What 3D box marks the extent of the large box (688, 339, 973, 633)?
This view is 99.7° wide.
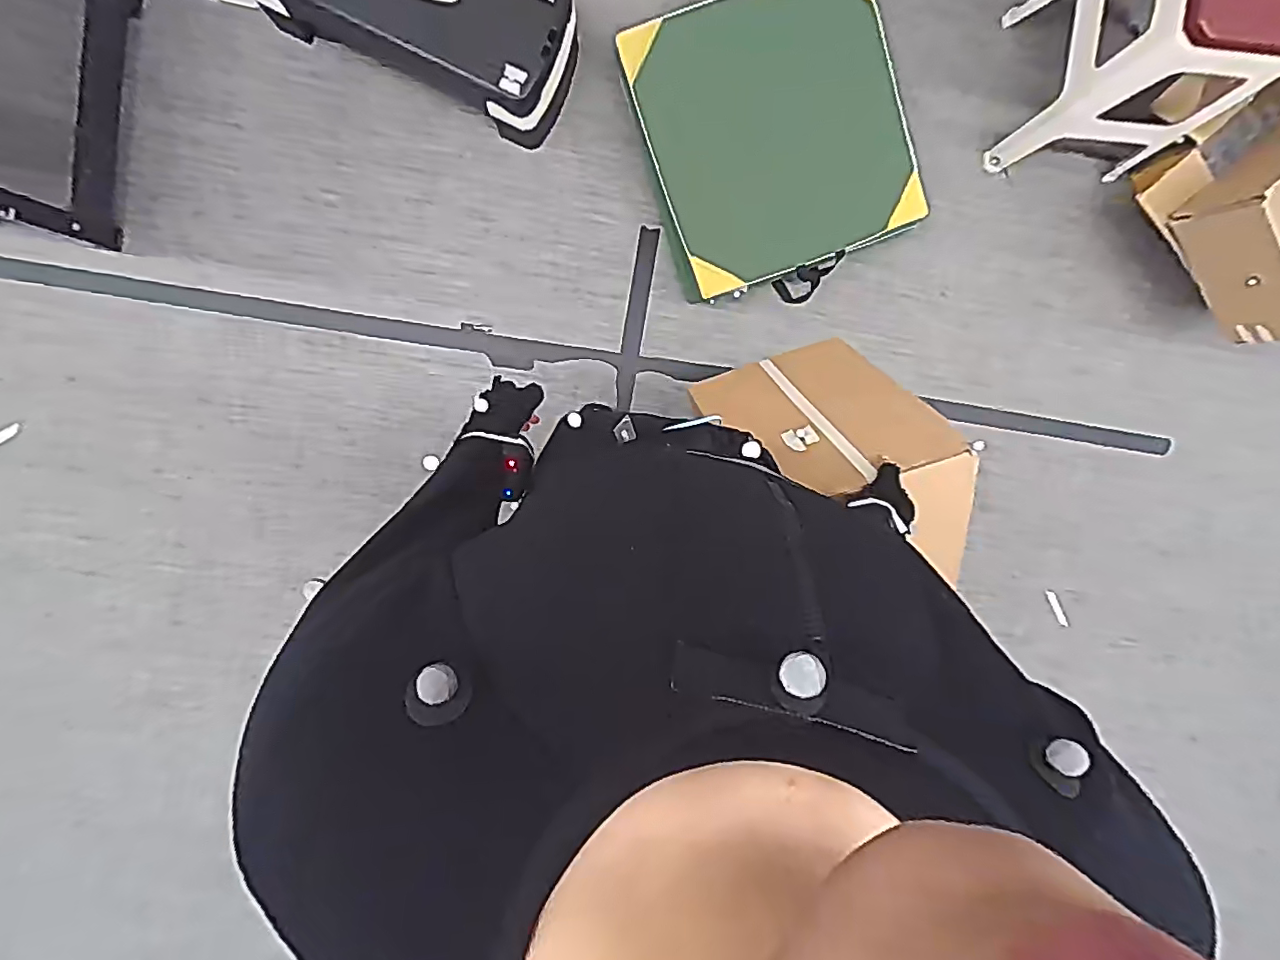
[{"bbox_3d":[0.314,-0.003,0.999,0.320,0.408,0.320,-19,130,0],"label":"large box"}]
